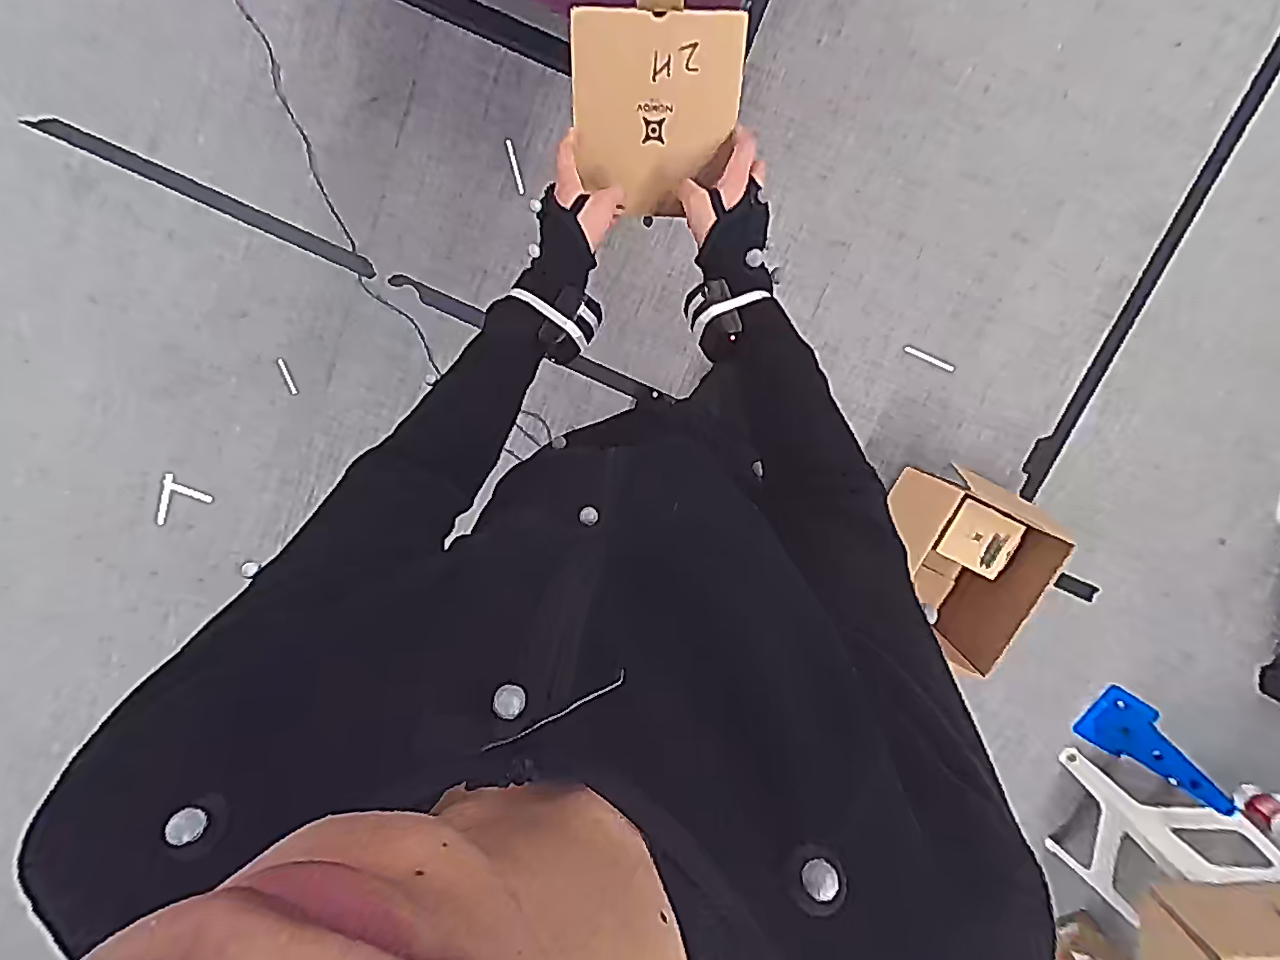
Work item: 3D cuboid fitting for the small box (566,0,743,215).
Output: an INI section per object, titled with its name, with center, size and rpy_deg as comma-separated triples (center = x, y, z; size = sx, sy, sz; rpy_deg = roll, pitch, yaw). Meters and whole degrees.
[small box]
center = 0.015, -0.400, 0.601
size = 0.168, 0.176, 0.179
rpy_deg = 2, 119, 2
